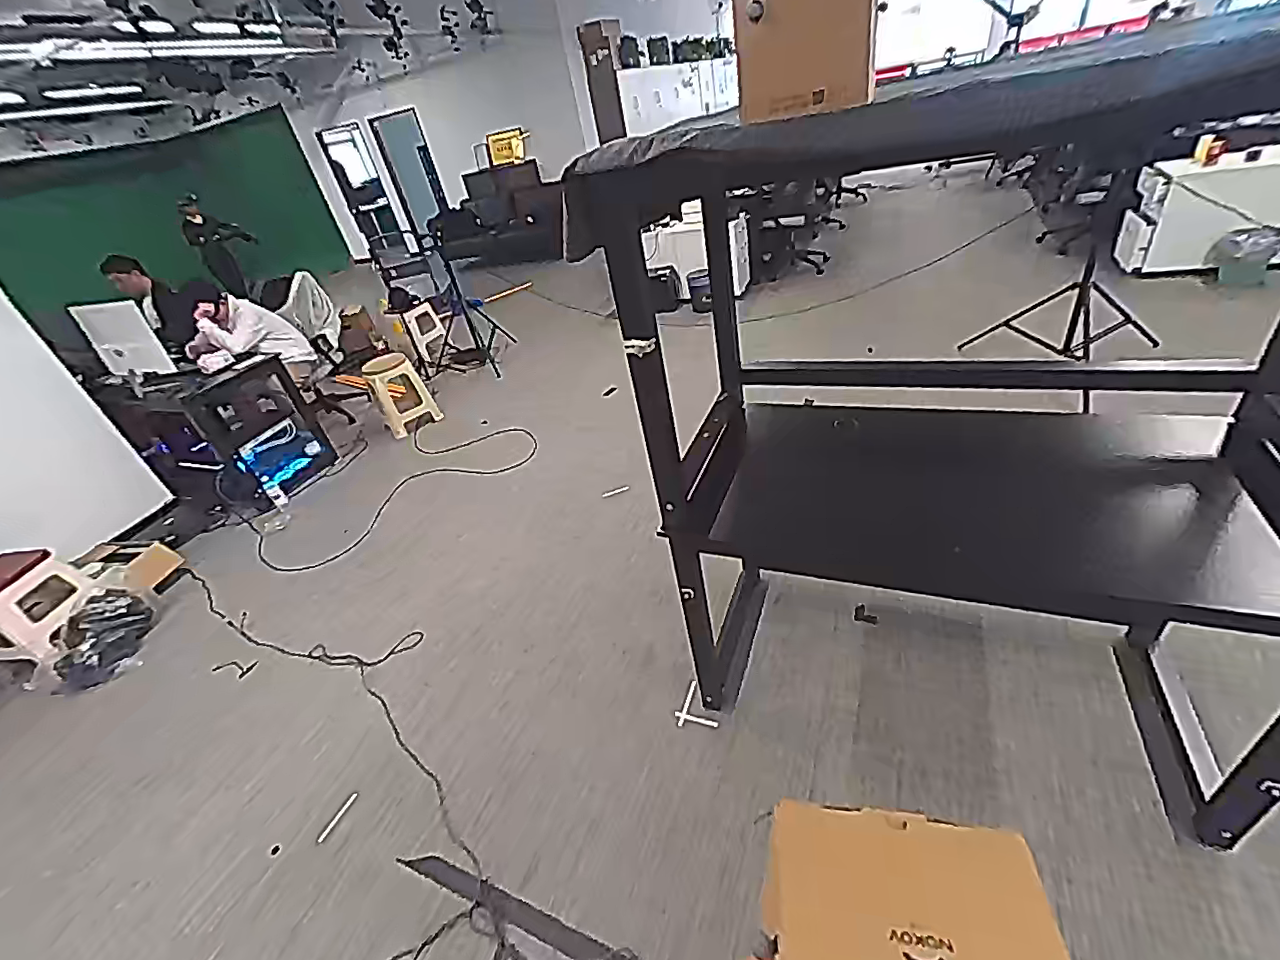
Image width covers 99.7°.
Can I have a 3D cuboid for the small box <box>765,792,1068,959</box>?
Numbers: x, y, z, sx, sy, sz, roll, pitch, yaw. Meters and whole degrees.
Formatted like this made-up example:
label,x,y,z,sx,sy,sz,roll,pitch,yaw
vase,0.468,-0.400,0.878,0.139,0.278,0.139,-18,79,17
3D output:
label,x,y,z,sx,sy,sz,roll,pitch,yaw
small box,0.172,0.349,0.361,0.168,0.176,0.179,2,32,10
